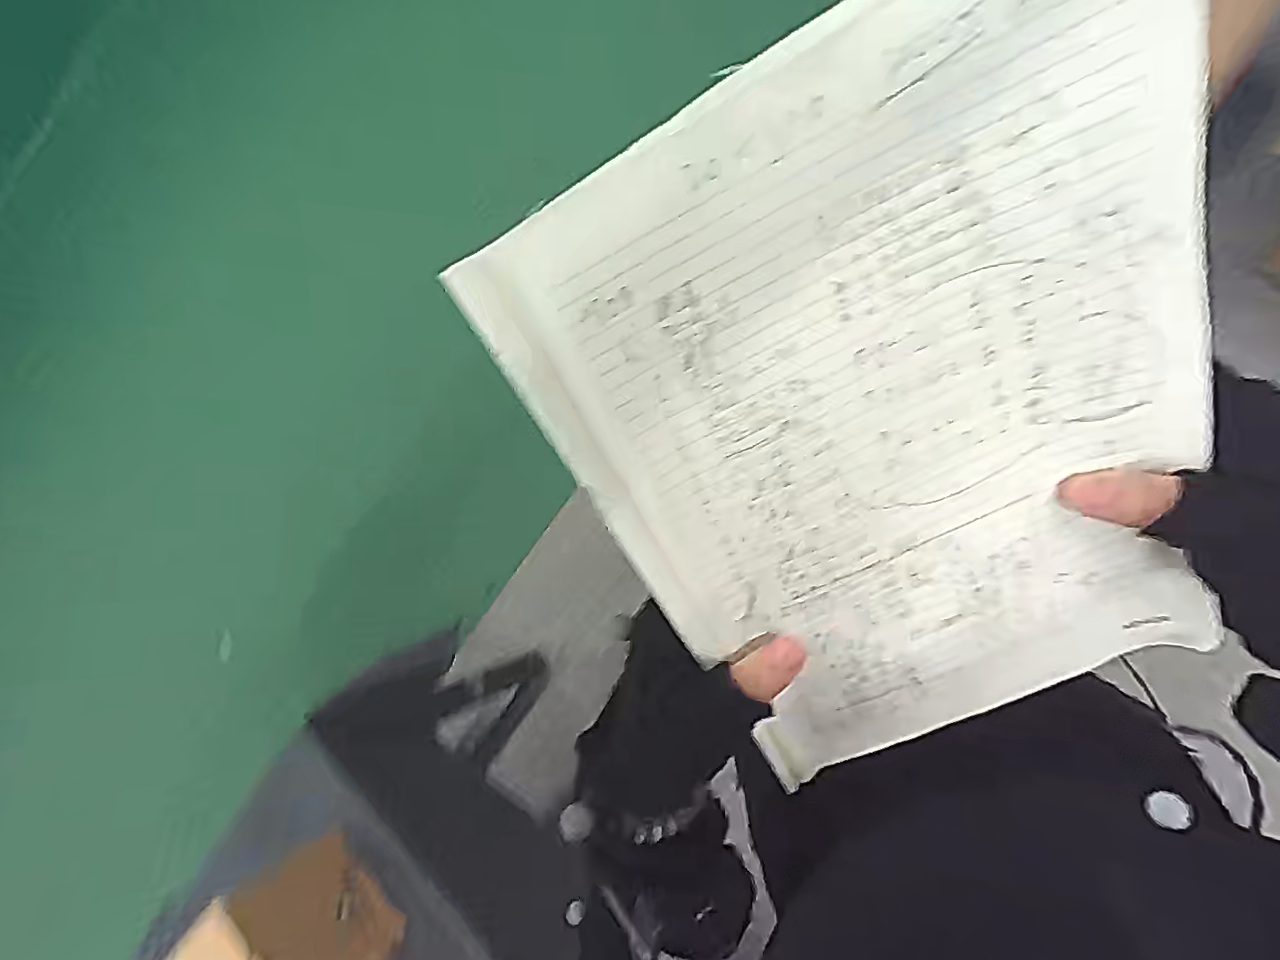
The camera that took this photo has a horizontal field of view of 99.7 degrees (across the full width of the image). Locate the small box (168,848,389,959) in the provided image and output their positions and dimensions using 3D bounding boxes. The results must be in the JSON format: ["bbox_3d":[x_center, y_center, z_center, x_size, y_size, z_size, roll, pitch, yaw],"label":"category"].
[{"bbox_3d":[-0.443,0.599,0.641,0.168,0.176,0.179,39,94,17],"label":"small box"}]
